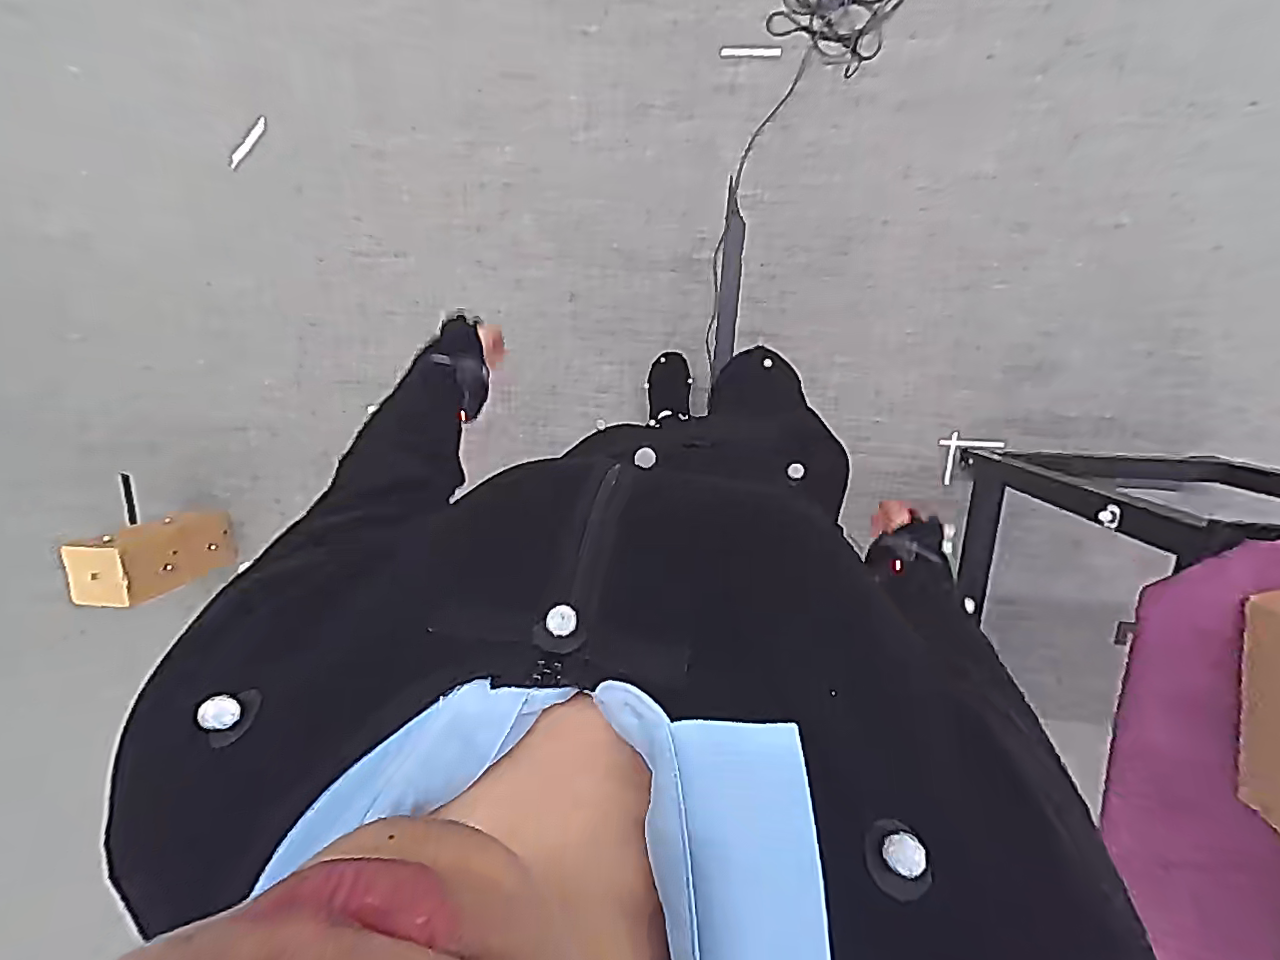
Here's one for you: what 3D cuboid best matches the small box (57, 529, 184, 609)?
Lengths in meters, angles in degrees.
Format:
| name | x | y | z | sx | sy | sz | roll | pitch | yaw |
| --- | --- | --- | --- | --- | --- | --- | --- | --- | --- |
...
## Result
| name | x | y | z | sx | sy | sz | roll | pitch | yaw |
| --- | --- | --- | --- | --- | --- | --- | --- | --- | --- |
| small box | -1.414 | 0.239 | 1.482 | 0.179 | 0.176 | 0.168 | 2 | 103 | 6 |

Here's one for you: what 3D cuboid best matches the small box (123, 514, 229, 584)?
| name | x | y | z | sx | sy | sz | roll | pitch | yaw |
| --- | --- | --- | --- | --- | --- | --- | --- | --- | --- |
| small box | -1.393 | 0.204 | 1.640 | 0.179 | 0.176 | 0.168 | 1 | 102 | 8 |
